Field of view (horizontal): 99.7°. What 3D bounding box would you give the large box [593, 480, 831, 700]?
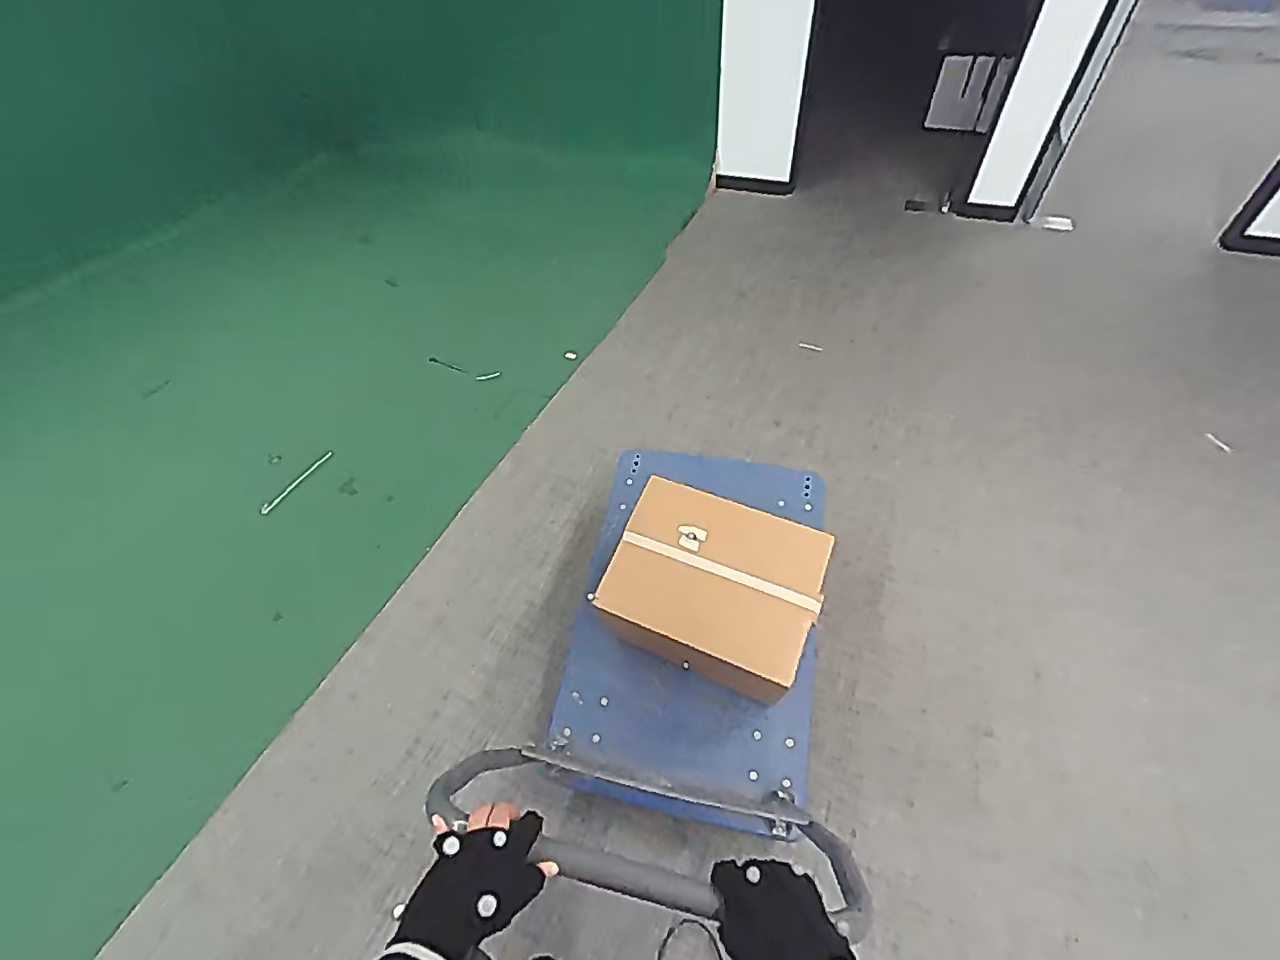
[{"bbox_3d":[0.164,0.251,1.204,0.408,0.320,0.320,19,66,17],"label":"large box"}]
